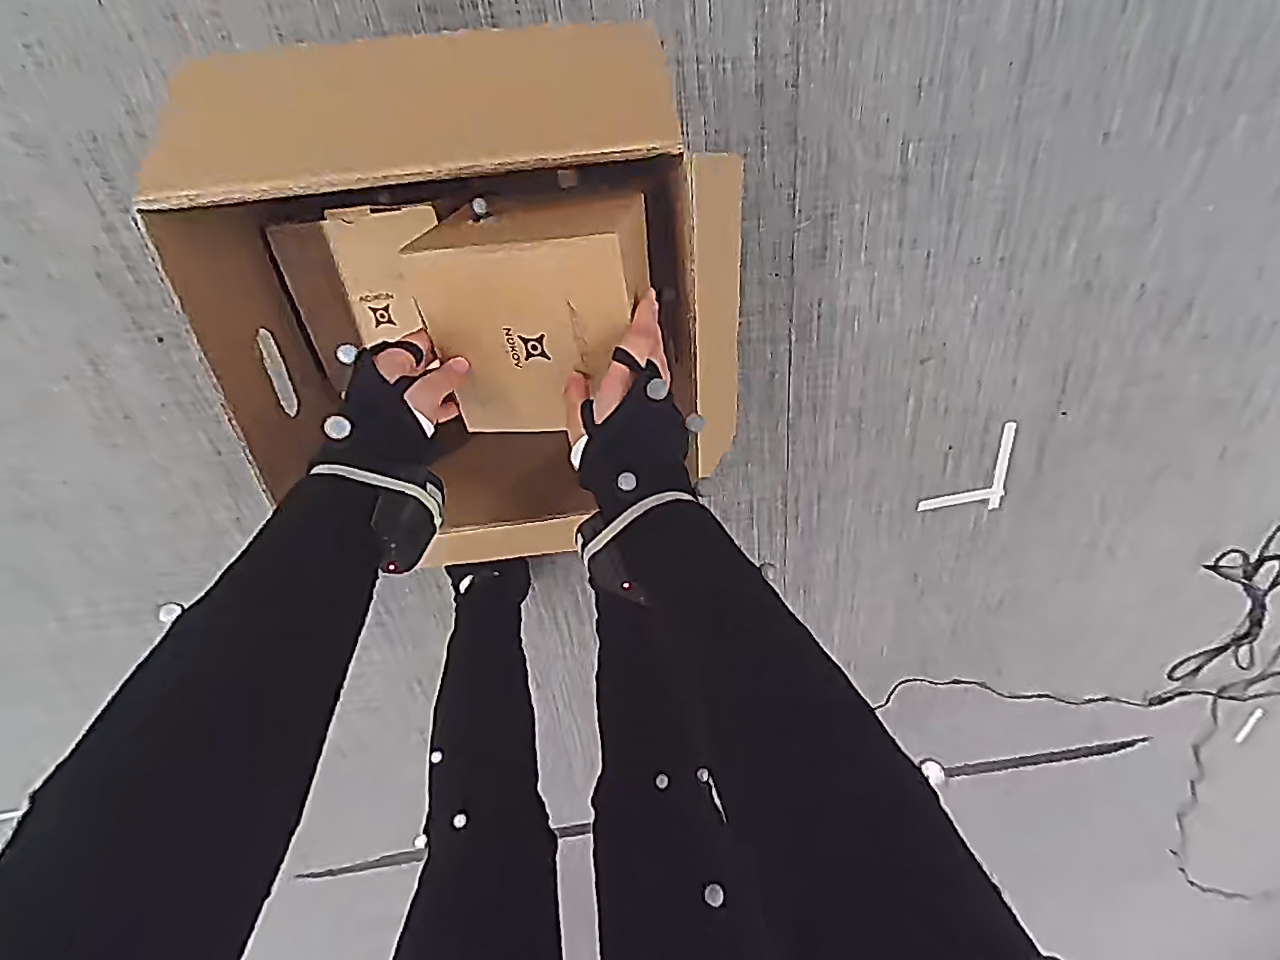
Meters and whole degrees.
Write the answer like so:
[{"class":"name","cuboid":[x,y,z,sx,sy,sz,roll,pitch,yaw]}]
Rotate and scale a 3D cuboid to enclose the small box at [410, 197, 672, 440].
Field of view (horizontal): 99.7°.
[{"class":"small box","cuboid":[-0.073,-0.152,0.511,0.179,0.176,0.168,0,131,12]}]
